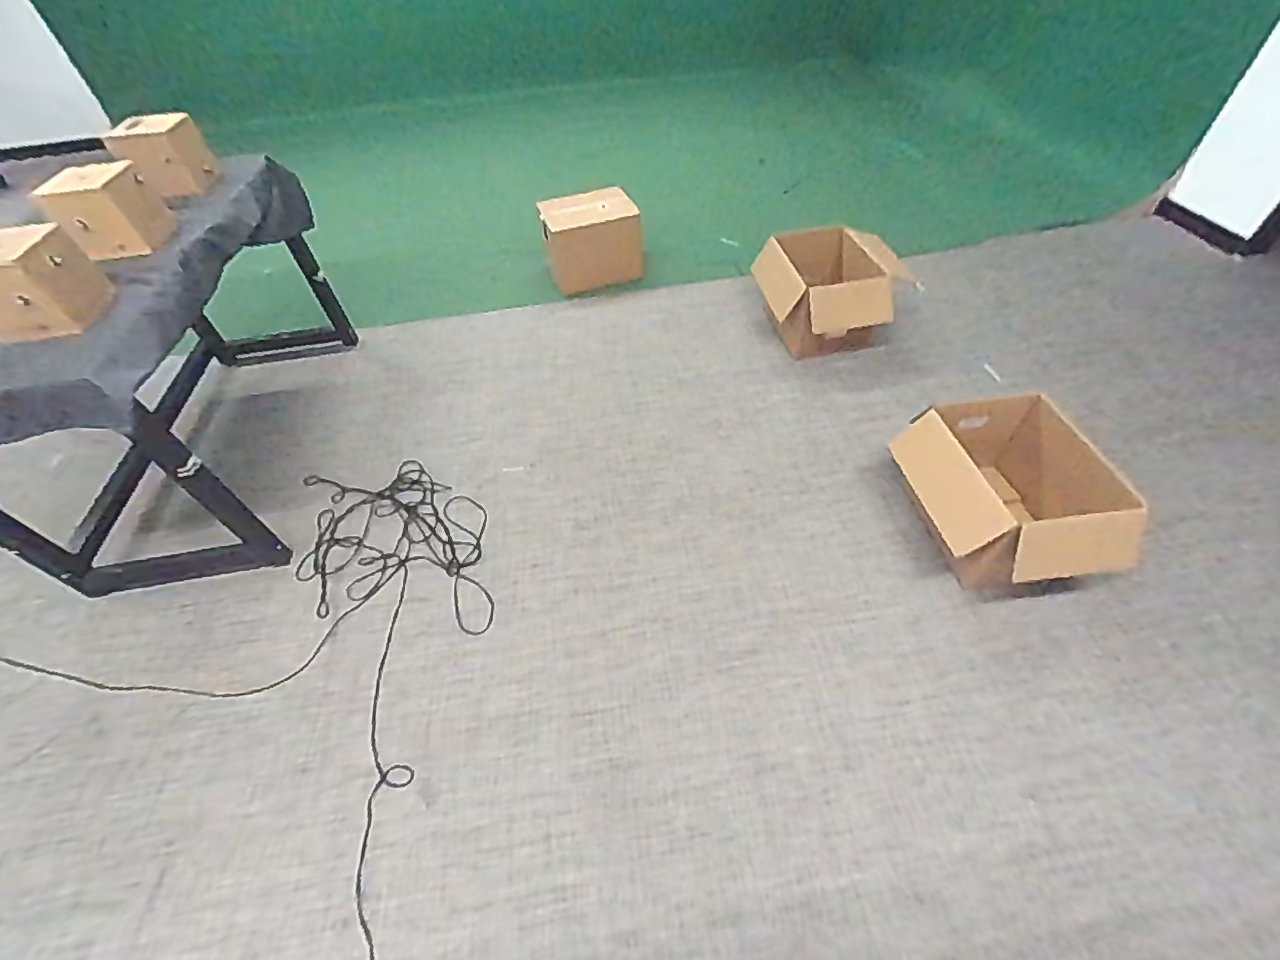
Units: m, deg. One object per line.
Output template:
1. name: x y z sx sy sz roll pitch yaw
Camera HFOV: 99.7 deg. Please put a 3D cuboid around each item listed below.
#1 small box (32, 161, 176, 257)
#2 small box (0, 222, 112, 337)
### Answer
1. small box: -1.350 -0.684 1.381 0.168 0.176 0.179 -9 49 -3
2. small box: -1.296 -0.419 1.147 0.168 0.176 0.179 -9 48 -5
